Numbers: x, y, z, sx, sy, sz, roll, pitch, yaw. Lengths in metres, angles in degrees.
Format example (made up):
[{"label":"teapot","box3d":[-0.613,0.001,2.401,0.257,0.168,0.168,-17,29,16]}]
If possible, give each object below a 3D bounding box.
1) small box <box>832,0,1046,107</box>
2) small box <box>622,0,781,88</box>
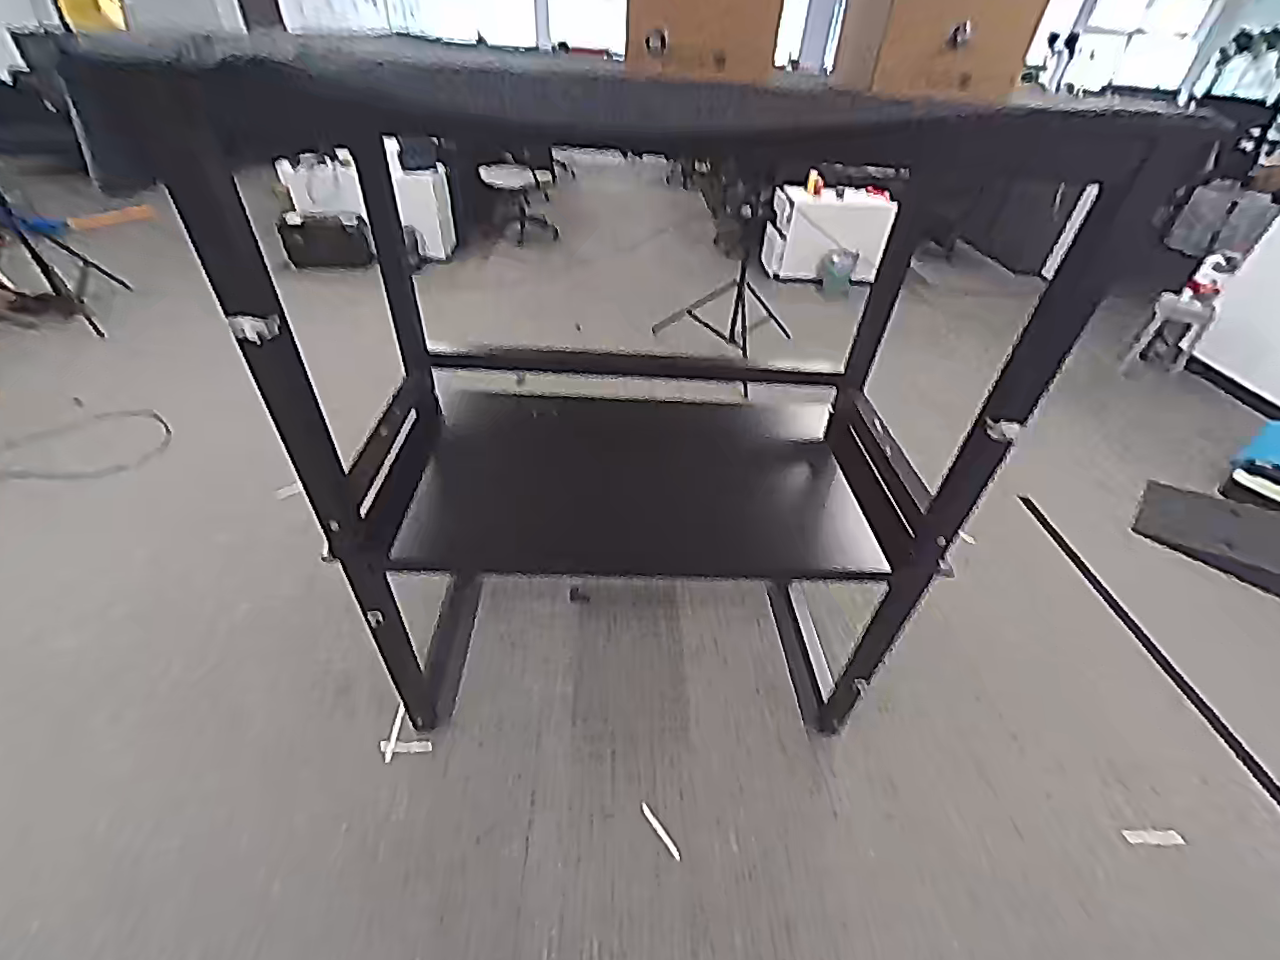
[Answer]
[{"label":"small box","box3d":[0.341,-0.546,0.628,0.168,0.176,0.179,2,39,-1]},{"label":"small box","box3d":[0.067,-0.554,0.614,0.168,0.176,0.179,2,37,-3]}]
